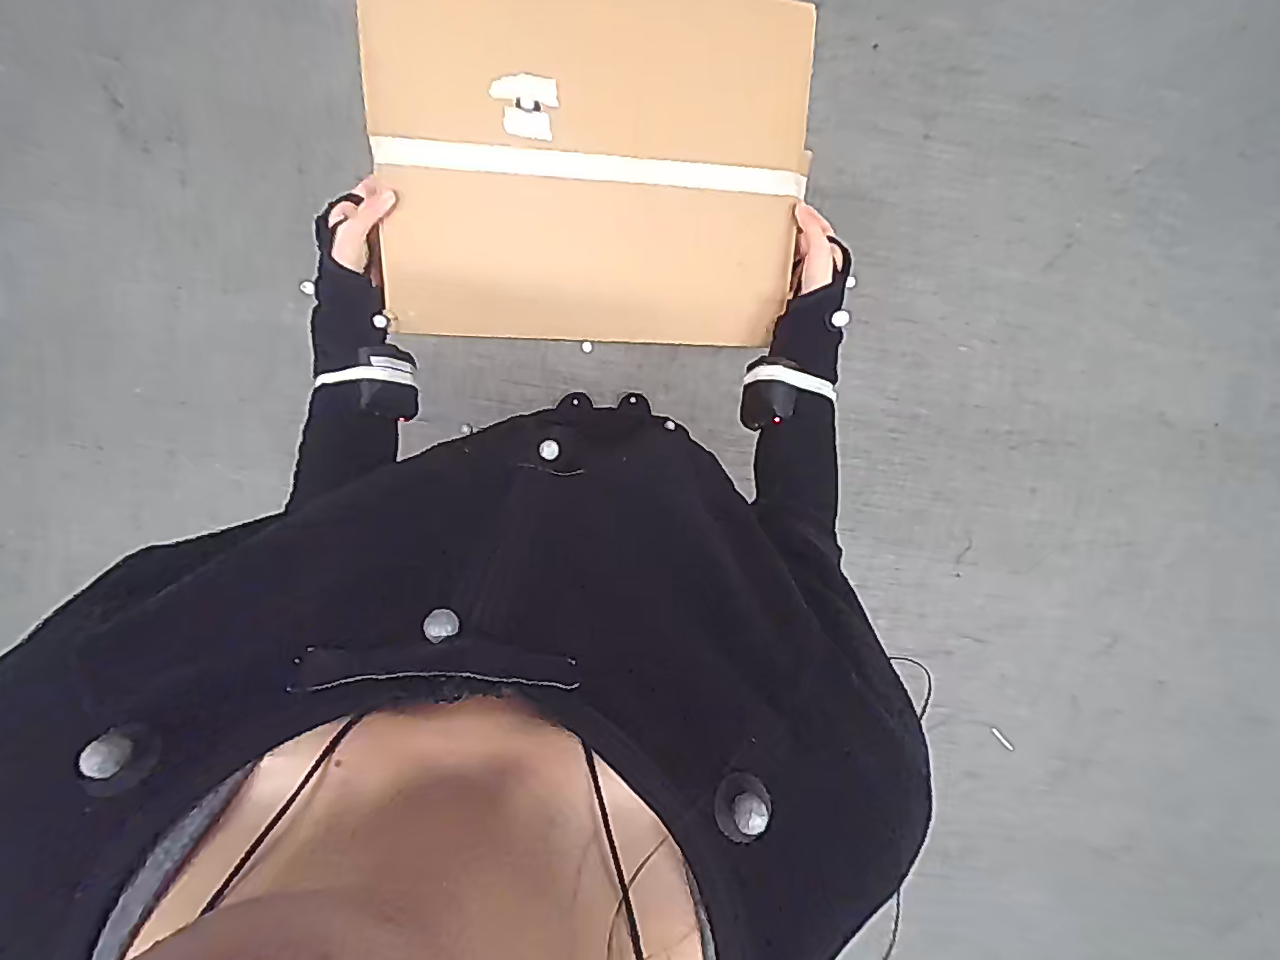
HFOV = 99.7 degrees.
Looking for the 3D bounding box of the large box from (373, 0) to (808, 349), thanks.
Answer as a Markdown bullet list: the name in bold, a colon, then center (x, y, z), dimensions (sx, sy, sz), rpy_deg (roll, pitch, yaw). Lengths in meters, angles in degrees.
- **large box**: center (-0.059, -0.337, 0.671), dimensions (0.408, 0.320, 0.320), rpy_deg (1, 106, -9)
